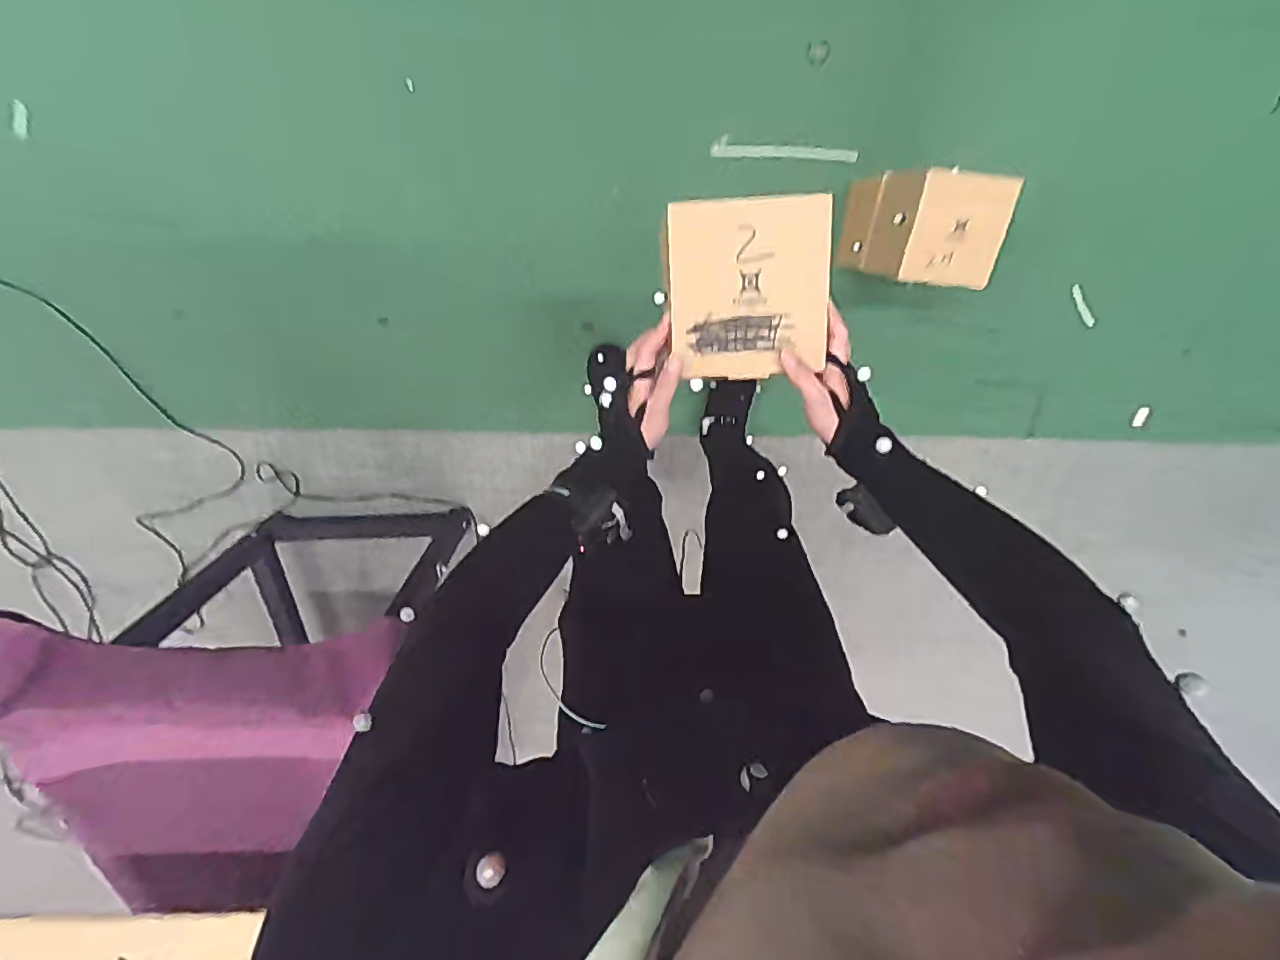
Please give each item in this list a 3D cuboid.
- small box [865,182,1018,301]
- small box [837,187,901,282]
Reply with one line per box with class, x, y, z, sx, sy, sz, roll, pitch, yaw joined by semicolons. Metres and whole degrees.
small box;0.546;-0.442;1.009;0.168;0.176;0.179;5;115;-3
small box;0.541;-0.516;1.156;0.168;0.176;0.179;4;115;-2
